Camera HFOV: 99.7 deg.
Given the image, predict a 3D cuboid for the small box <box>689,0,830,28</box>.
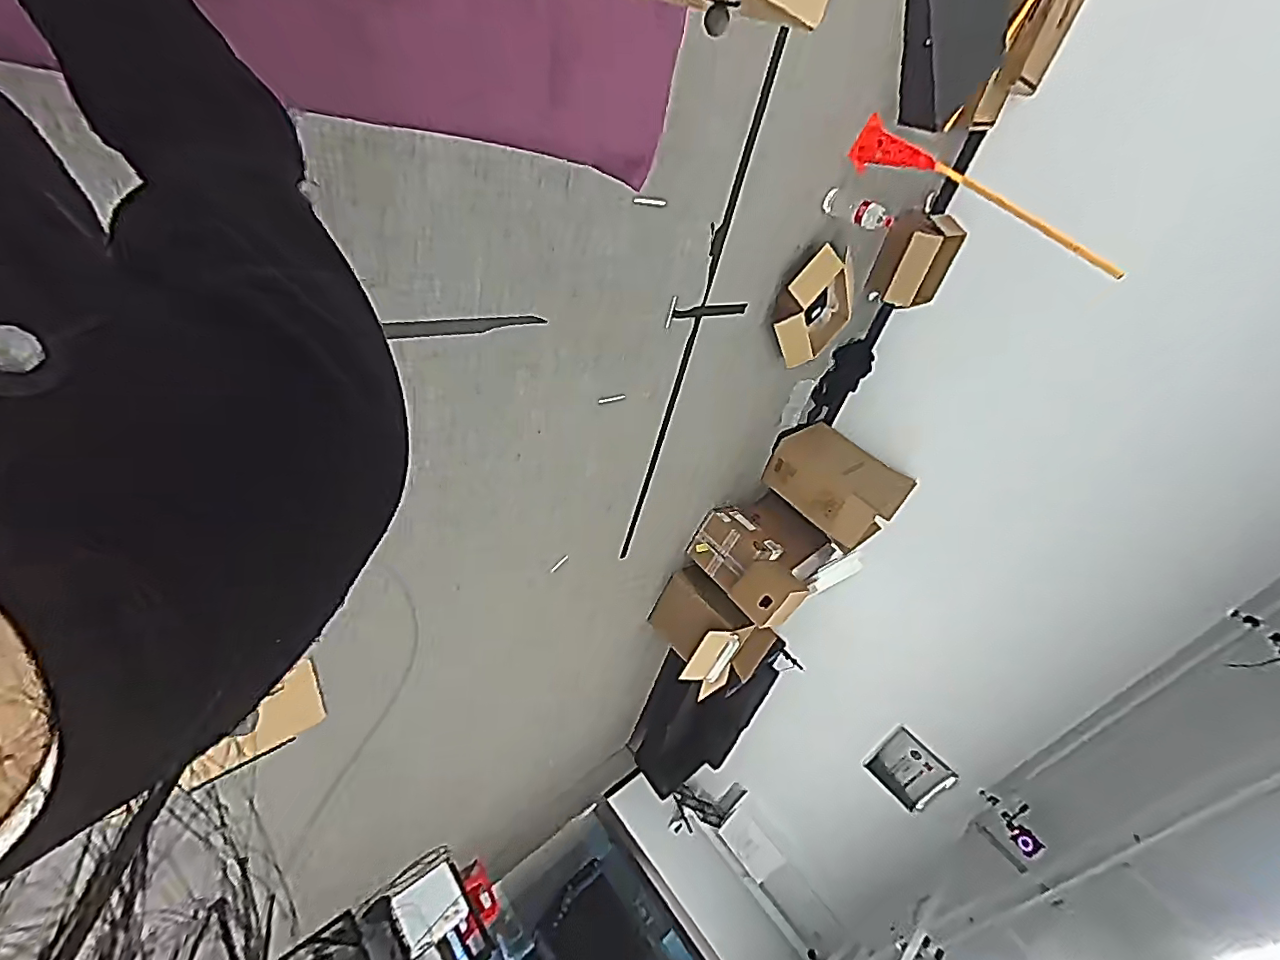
[{"bbox_3d":[0.015,-0.359,0.262,0.179,0.176,0.168,-18,138,-40],"label":"small box"}]
